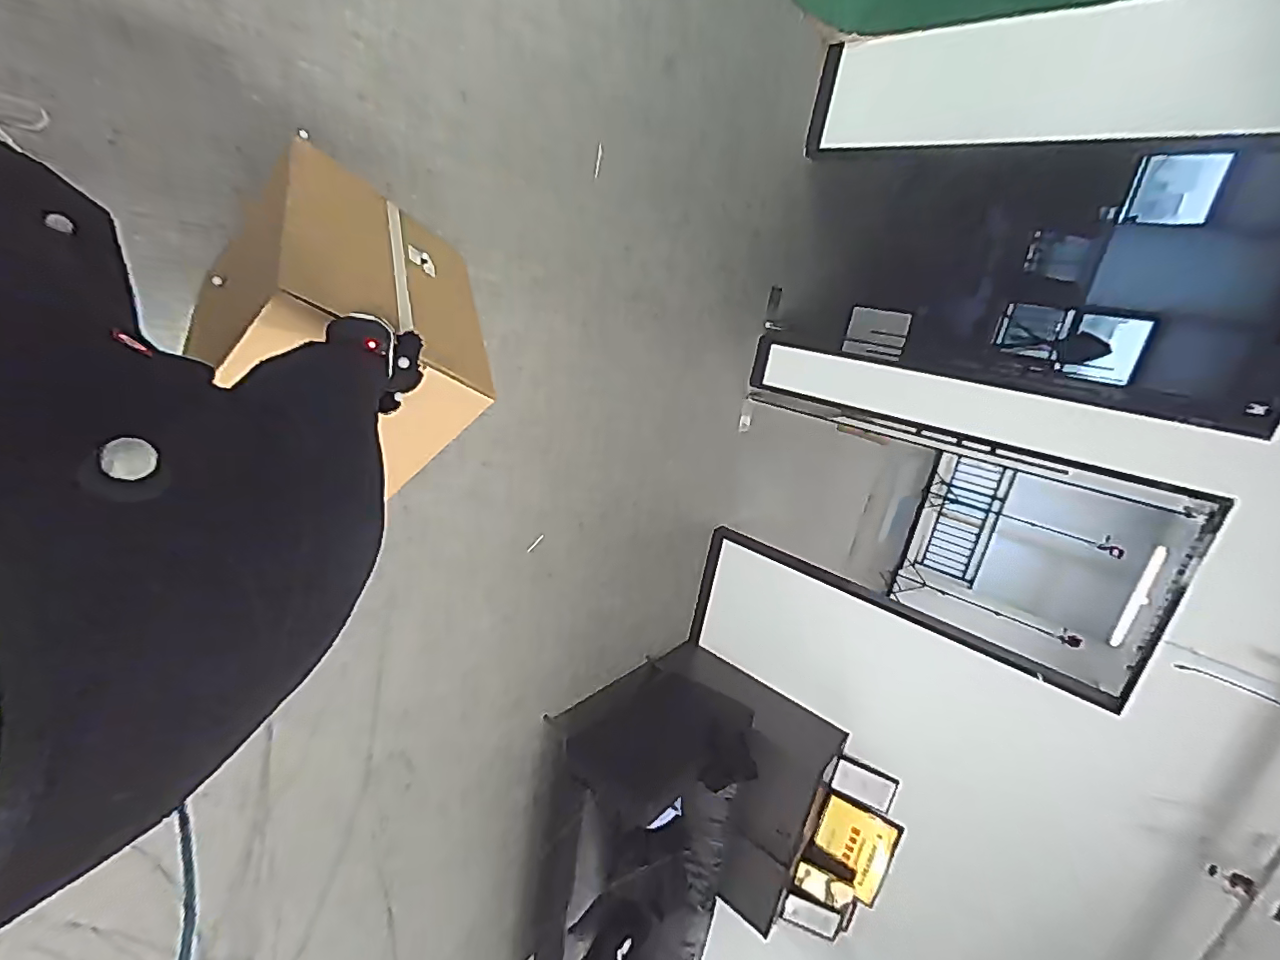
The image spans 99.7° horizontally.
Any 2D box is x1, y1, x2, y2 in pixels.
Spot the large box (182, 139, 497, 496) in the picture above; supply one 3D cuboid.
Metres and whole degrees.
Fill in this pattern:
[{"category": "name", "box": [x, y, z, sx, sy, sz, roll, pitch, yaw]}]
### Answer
[{"category": "large box", "box": [-0.485, -0.242, 0.888, 0.320, 0.408, 0.320, -36, 145, 21]}]
